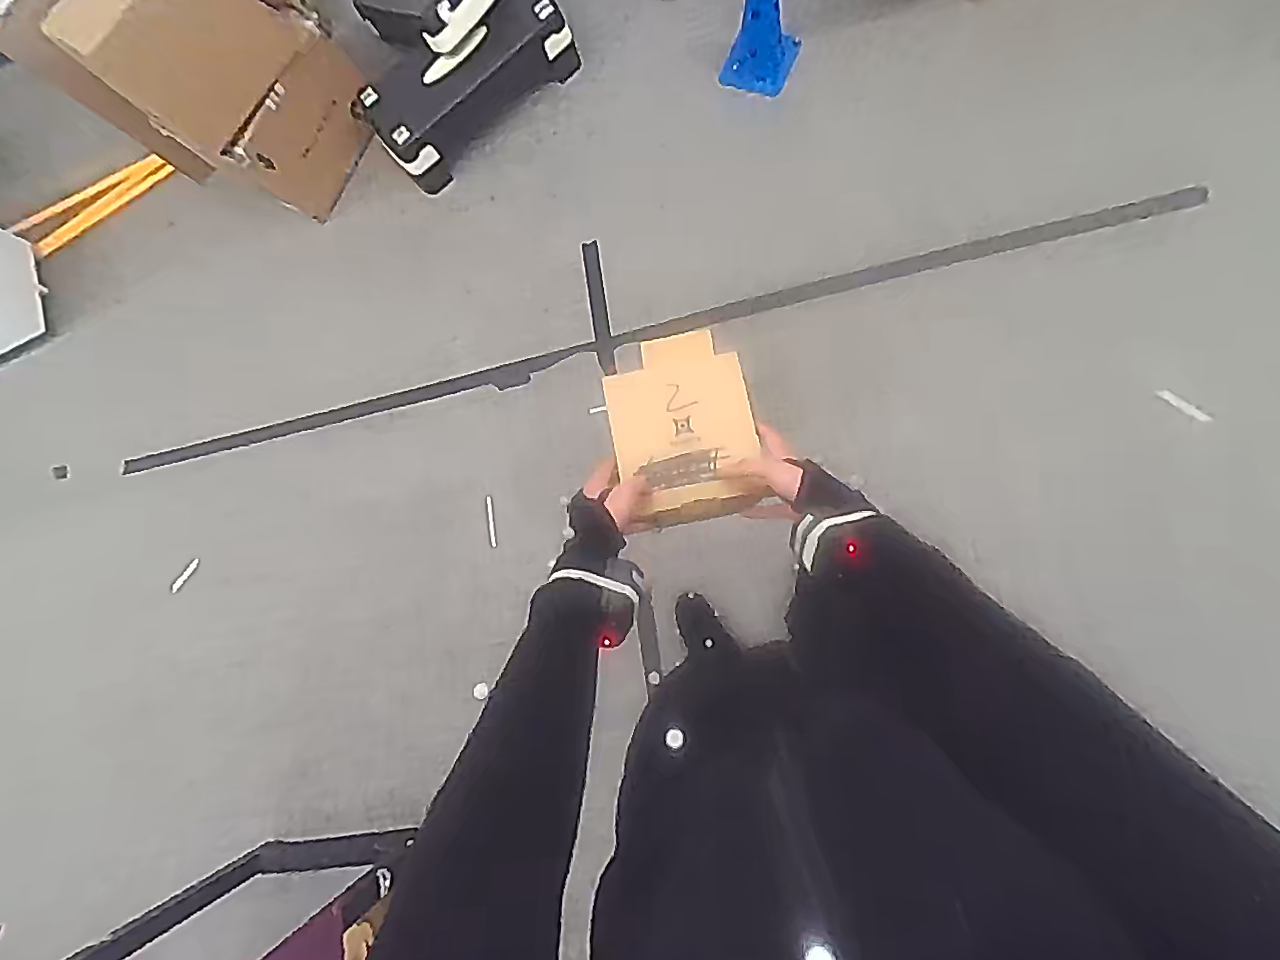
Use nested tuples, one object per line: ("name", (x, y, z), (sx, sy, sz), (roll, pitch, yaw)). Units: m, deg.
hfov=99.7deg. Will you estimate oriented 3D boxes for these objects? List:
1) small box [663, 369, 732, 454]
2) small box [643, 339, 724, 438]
("small box", (0.145, -0.179, 1.456), (0.179, 0.176, 0.168), (-14, 79, 9))
("small box", (0.109, -0.214, 1.301), (0.168, 0.176, 0.179), (-9, 81, 9))
